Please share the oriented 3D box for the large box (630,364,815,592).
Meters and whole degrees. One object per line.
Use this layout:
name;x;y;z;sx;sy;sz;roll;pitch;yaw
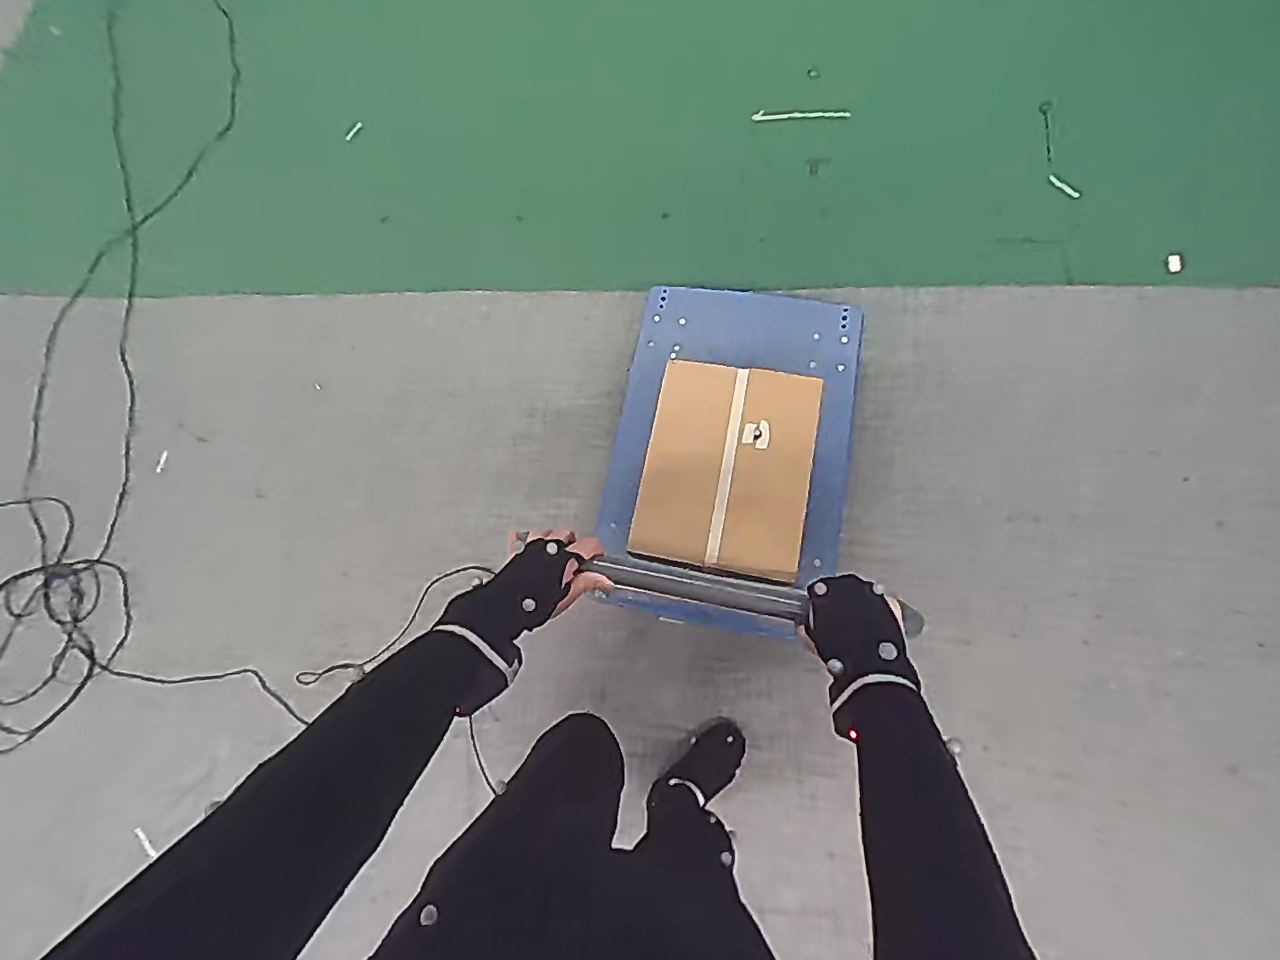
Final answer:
large box;0.180;0.012;1.177;0.320;0.320;0.408;9;75;9
